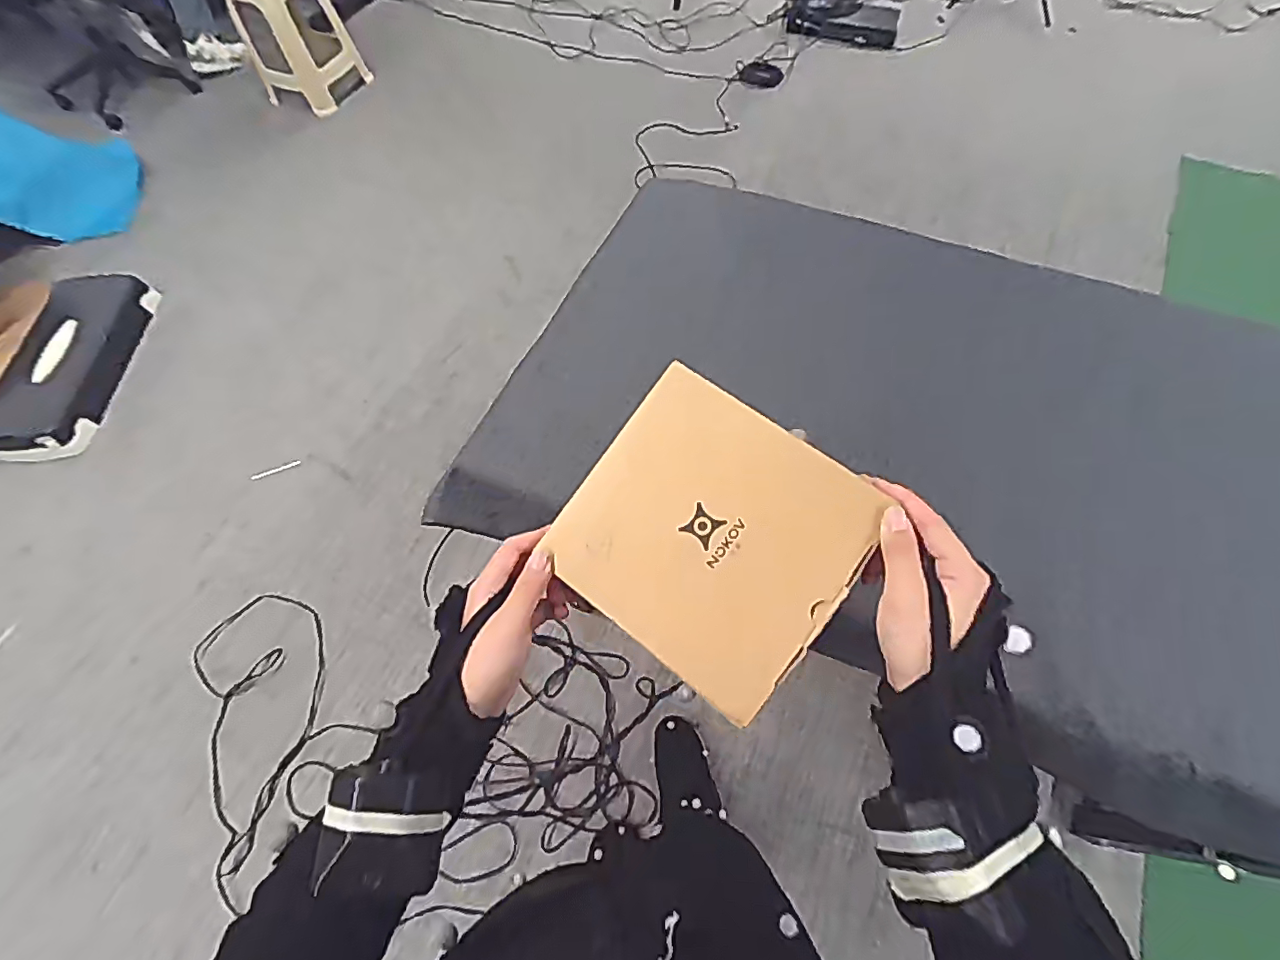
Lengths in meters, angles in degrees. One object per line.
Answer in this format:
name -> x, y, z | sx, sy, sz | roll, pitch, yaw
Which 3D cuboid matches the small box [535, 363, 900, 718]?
small box -> 0.056, 0.047, 0.420 | 0.179, 0.176, 0.168 | 36, 87, 14
